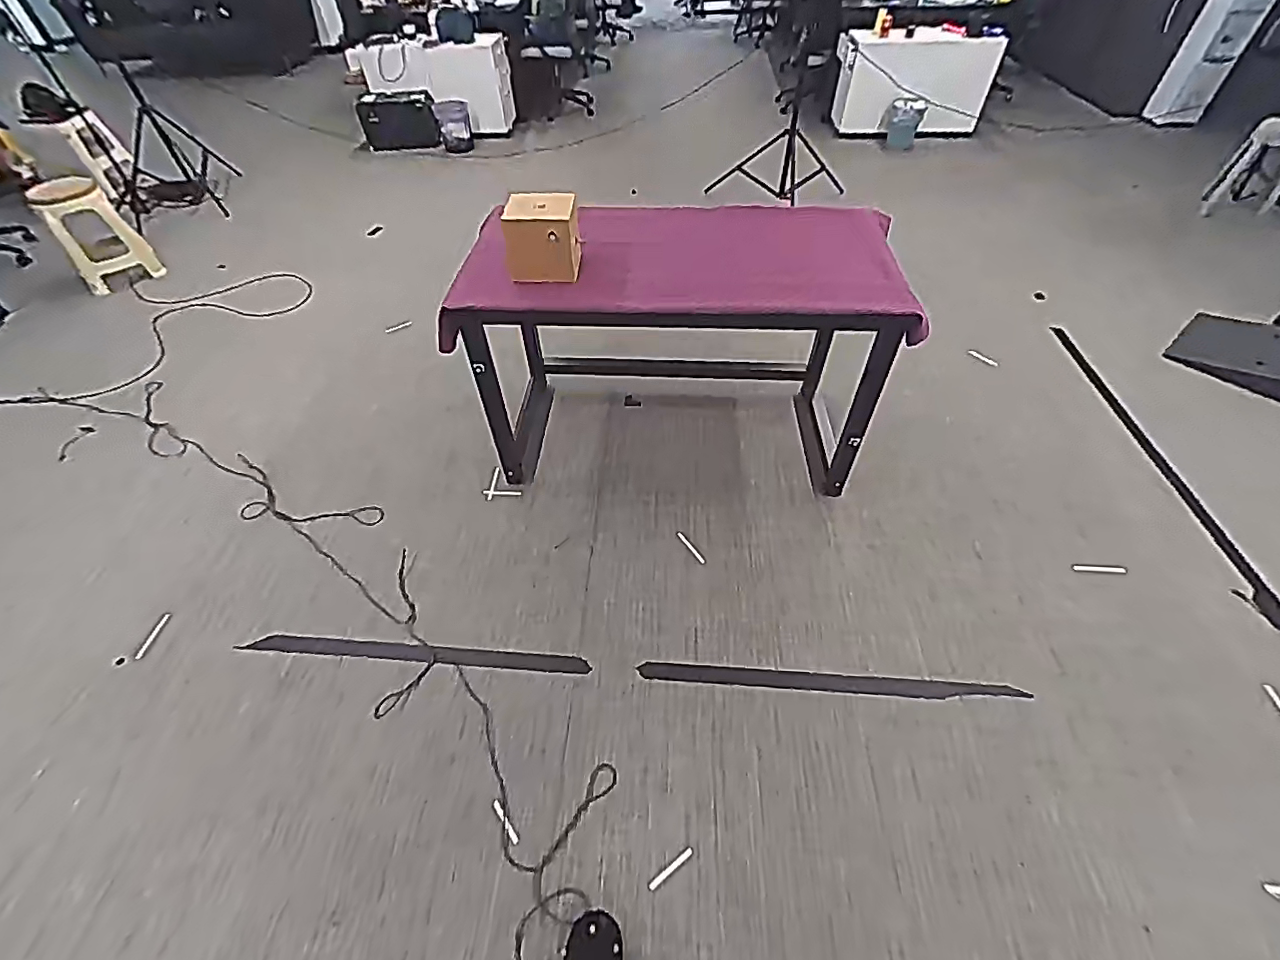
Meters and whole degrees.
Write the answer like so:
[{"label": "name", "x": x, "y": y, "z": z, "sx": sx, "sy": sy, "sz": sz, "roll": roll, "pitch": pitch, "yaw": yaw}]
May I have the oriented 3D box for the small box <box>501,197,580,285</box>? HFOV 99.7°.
[{"label": "small box", "x": -0.258, "y": -0.639, "z": 1.451, "sx": 0.179, "sy": 0.176, "sz": 0.168, "roll": 0, "pitch": 47, "yaw": 1}]
